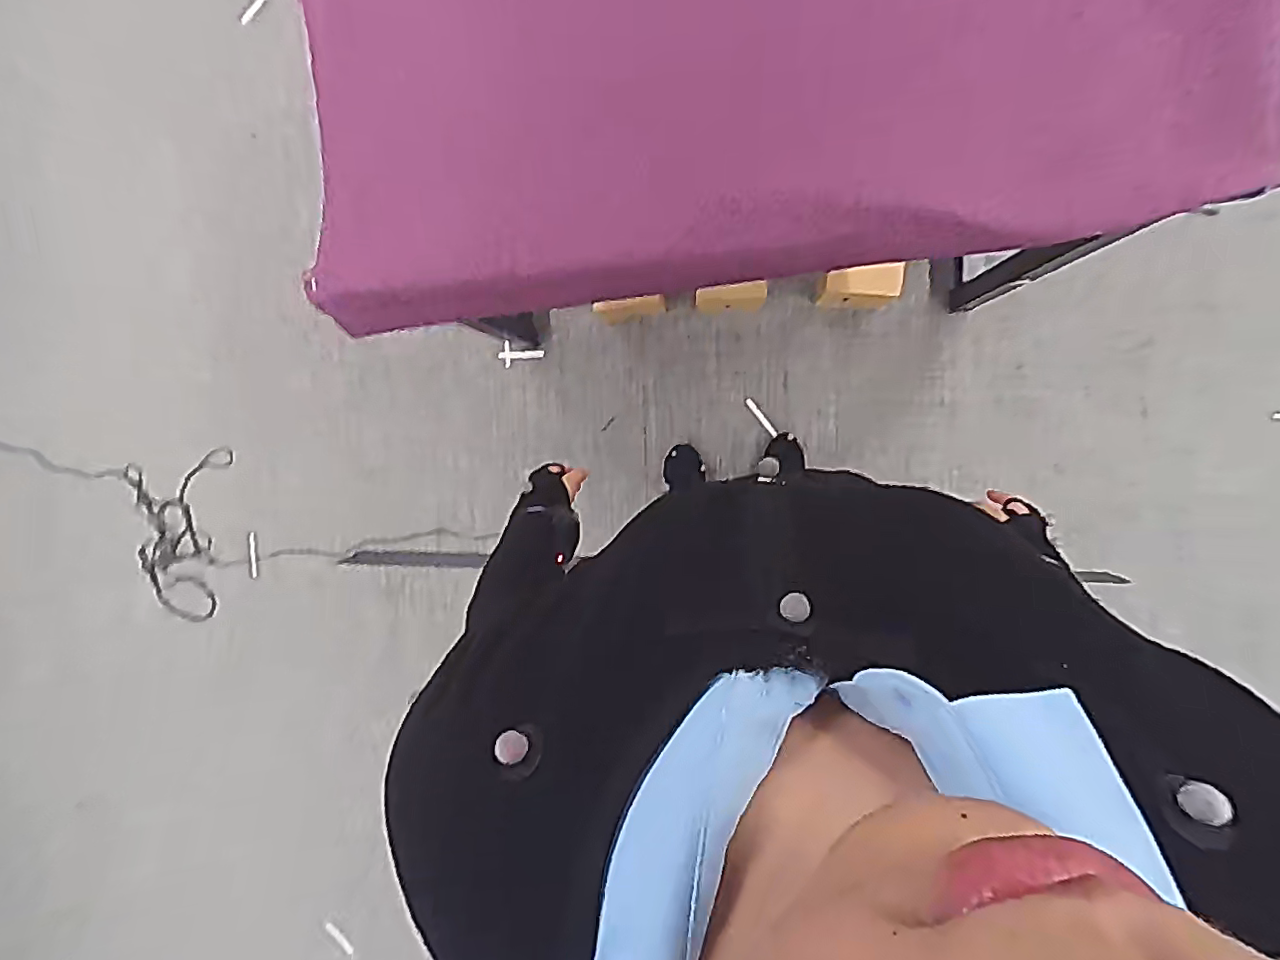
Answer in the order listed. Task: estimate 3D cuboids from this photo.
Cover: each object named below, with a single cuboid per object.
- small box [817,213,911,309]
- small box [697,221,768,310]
[{"bbox_3d":[0.535,-0.524,1.316,0.168,0.176,0.179,7,96,8],"label":"small box"},{"bbox_3d":[0.229,-0.528,1.356,0.168,0.176,0.179,0,95,7],"label":"small box"}]
